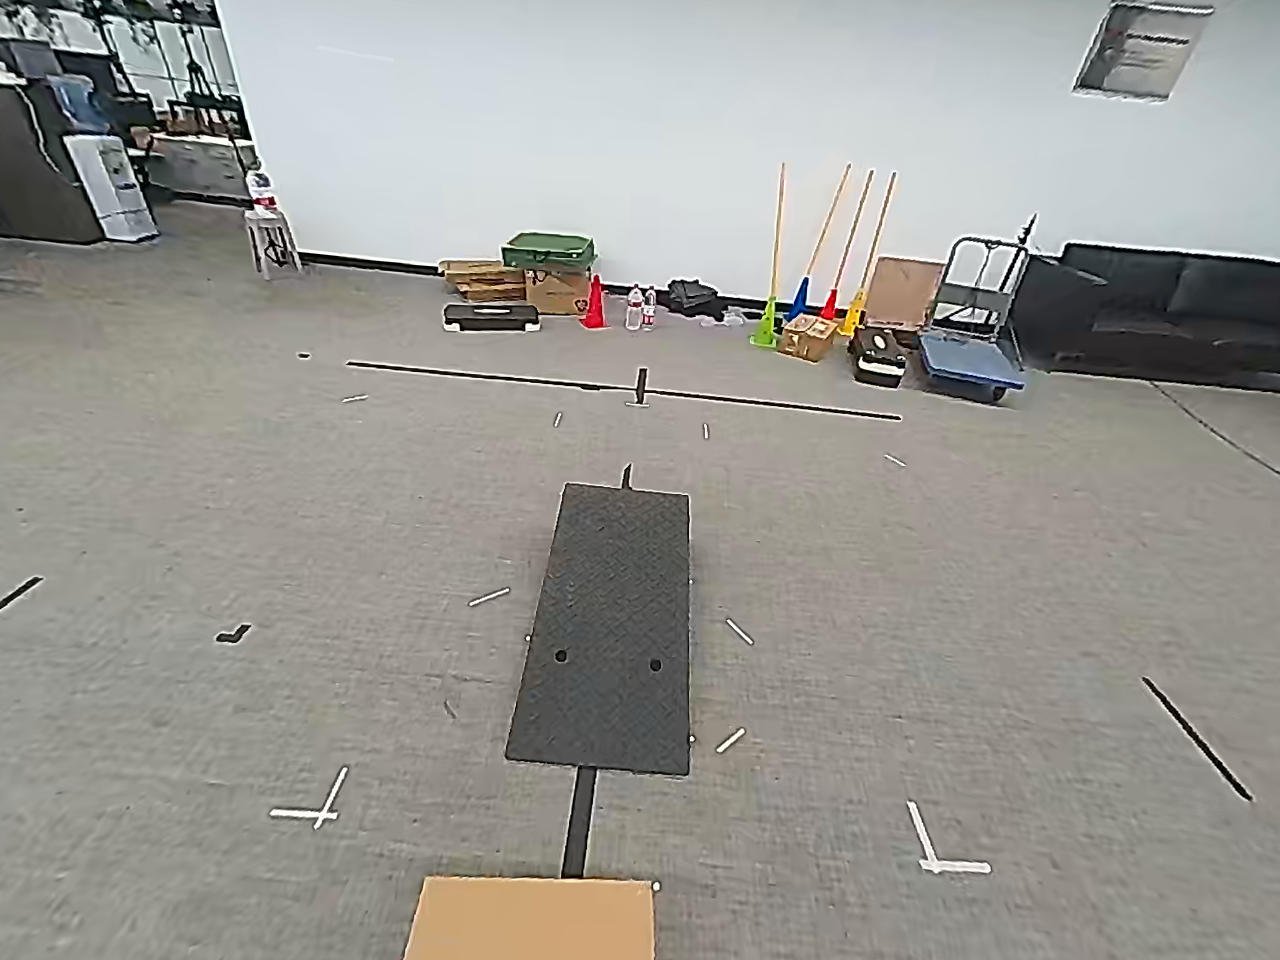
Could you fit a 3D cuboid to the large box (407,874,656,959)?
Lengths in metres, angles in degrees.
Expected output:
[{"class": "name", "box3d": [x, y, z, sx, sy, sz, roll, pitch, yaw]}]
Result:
[{"class": "large box", "box3d": [-0.187, 0.914, 0.919, 0.408, 0.320, 0.320, 5, 35, -4]}]

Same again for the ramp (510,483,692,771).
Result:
[{"class": "ramp", "box3d": [-0.070, 0.397, 1.778, 0.509, 0.206, 0.991, 6, 35, -2]}]
